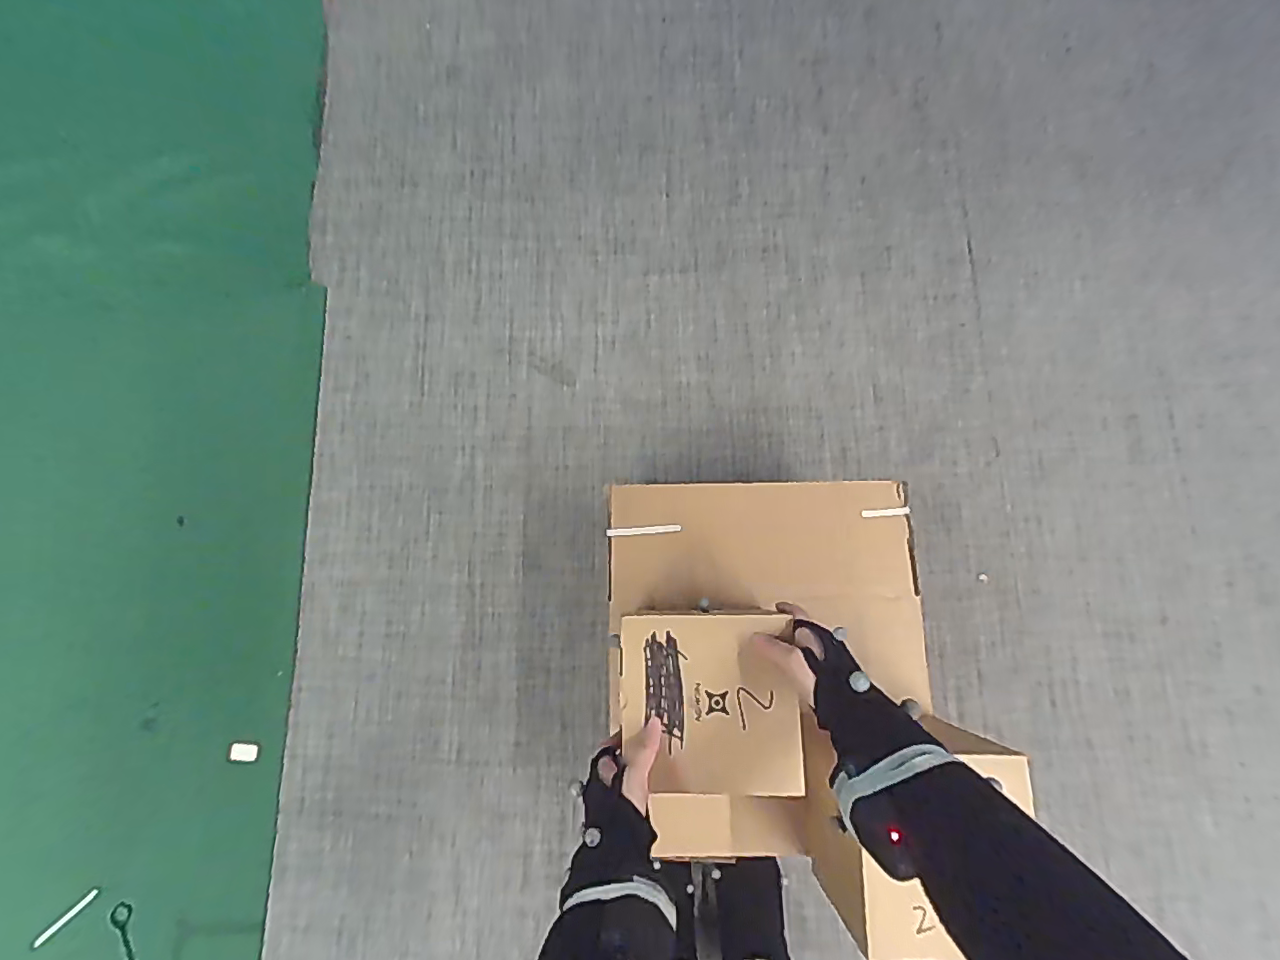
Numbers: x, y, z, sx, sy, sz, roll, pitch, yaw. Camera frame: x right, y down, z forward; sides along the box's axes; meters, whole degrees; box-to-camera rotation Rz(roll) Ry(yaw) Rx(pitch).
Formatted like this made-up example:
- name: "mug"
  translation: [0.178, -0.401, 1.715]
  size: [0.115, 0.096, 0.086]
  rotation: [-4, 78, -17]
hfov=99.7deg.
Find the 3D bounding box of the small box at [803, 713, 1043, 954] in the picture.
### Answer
- name: "small box"
  translation: [0.281, 0.357, 0.581]
  size: [0.168, 0.176, 0.179]
  rotation: [0, 78, 0]
